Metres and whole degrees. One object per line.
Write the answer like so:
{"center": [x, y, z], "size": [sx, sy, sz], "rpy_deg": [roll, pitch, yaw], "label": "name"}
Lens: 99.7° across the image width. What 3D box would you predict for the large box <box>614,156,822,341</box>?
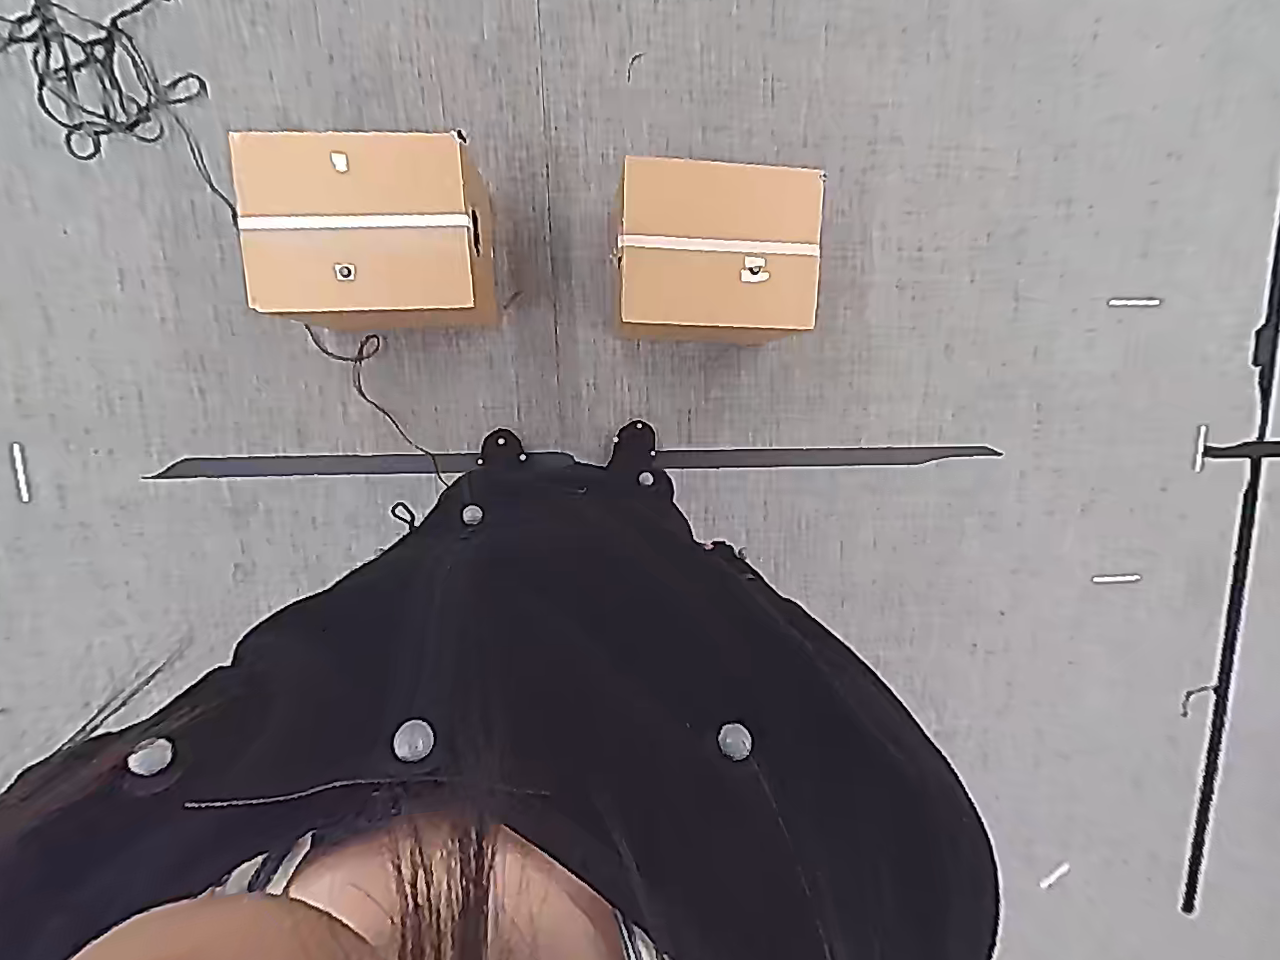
{"center": [0.150, -0.496, 1.233], "size": [0.408, 0.320, 0.320], "rpy_deg": [1, 99, -7], "label": "large box"}
